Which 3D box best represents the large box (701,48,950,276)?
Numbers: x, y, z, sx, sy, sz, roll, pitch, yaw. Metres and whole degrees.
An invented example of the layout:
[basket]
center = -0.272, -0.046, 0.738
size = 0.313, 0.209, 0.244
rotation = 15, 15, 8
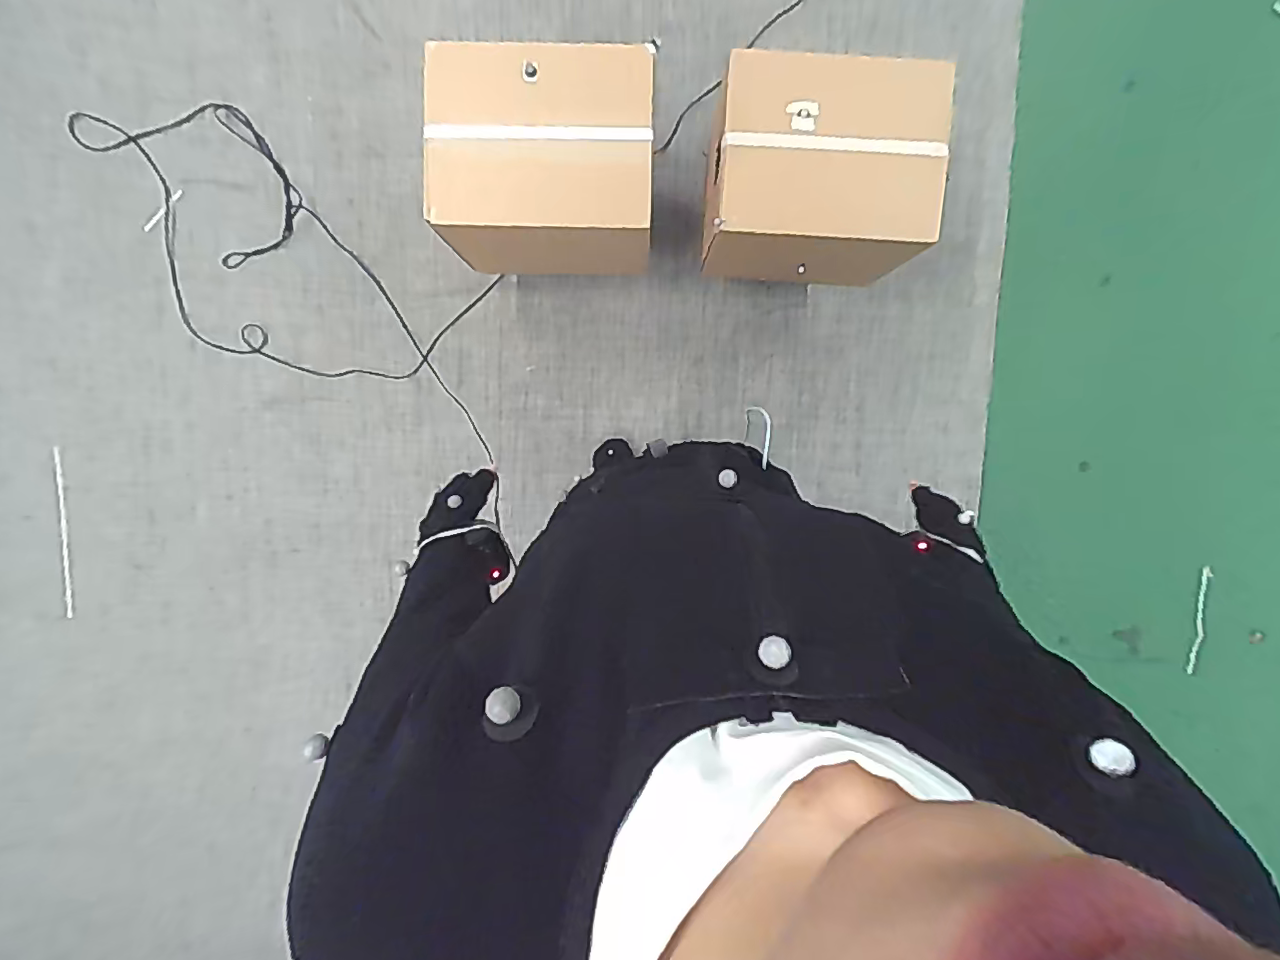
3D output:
[large box]
center = 0.351, -0.627, 1.126
size = 0.408, 0.320, 0.320
rotation = 3, 95, 0
